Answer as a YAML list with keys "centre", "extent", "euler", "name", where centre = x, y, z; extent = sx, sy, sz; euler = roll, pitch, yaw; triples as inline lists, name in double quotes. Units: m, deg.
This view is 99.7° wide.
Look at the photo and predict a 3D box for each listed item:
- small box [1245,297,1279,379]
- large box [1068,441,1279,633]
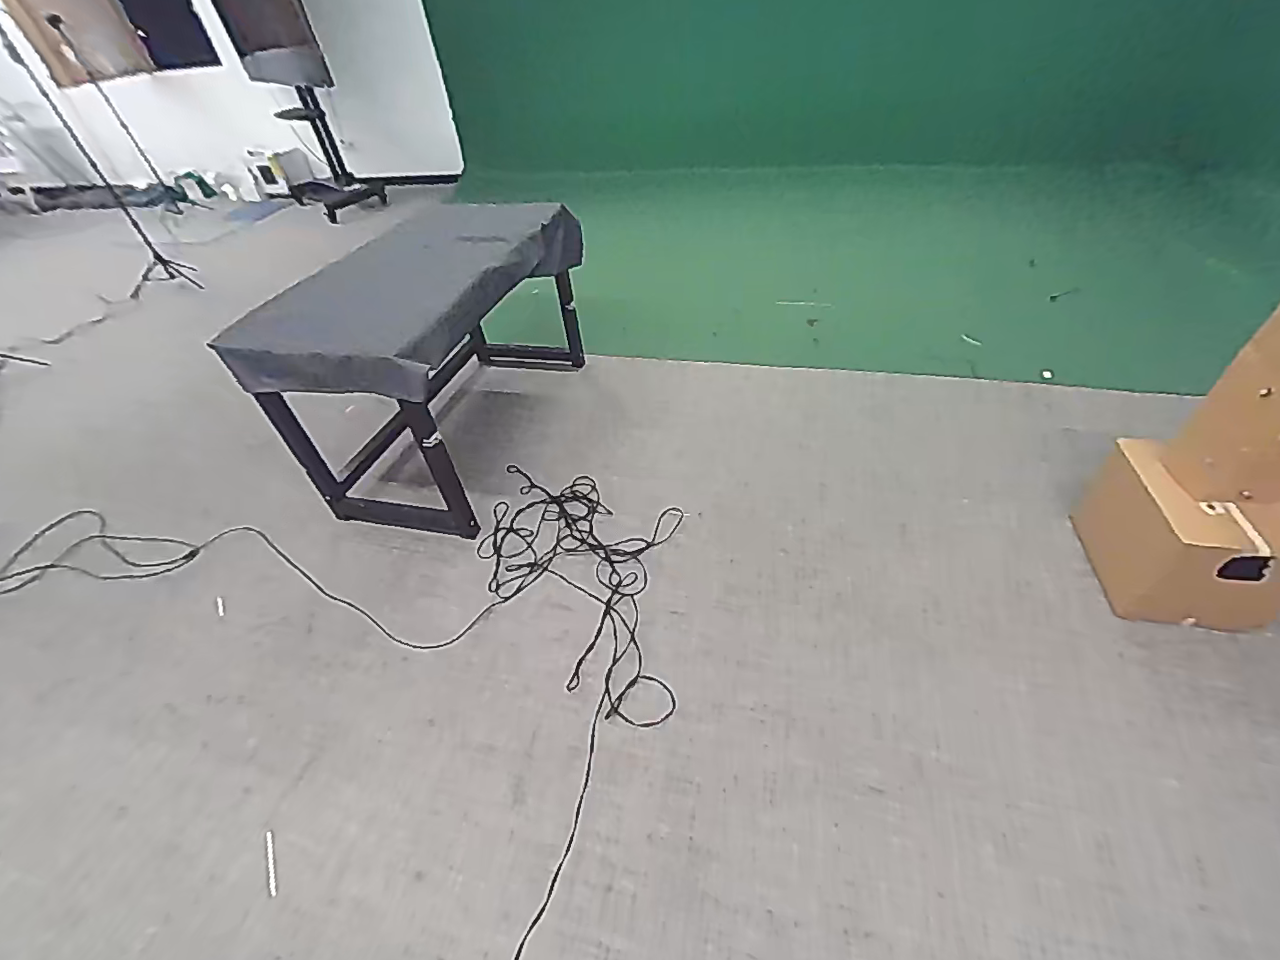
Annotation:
- centre: [1.432, -0.298, 1.107]
  extent: [0.168, 0.176, 0.179]
  euler: [5, 44, 11]
  name: "small box"
- centre: [1.467, 0.144, 1.466]
  extent: [0.320, 0.320, 0.408]
  euler: [4, 45, 13]
  name: "large box"
